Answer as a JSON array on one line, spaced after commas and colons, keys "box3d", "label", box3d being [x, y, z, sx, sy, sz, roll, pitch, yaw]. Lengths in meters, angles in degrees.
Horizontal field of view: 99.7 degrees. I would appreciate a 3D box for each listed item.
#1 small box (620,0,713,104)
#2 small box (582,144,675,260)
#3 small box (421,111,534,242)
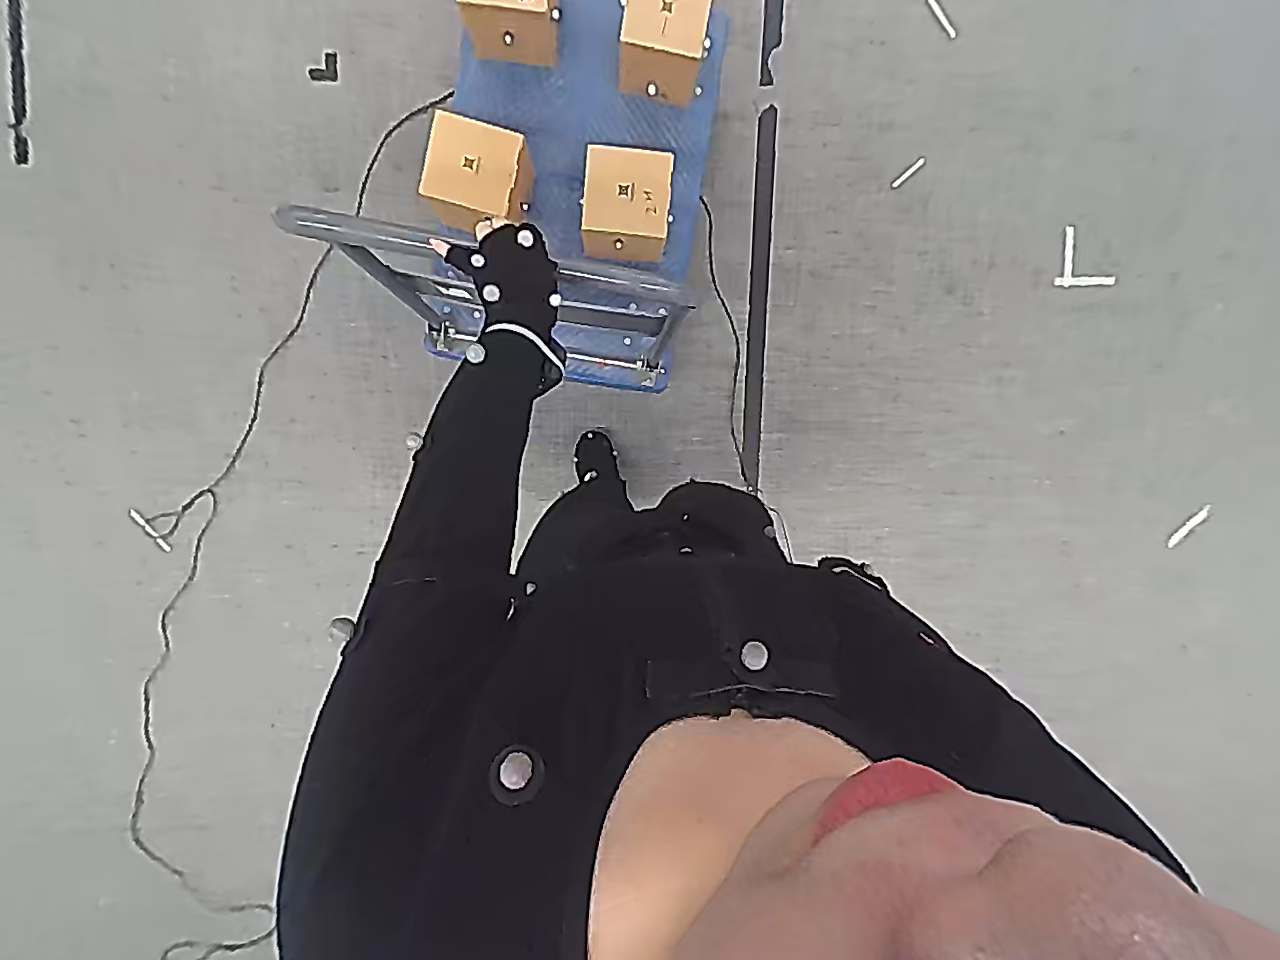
[{"box3d": [0.052, -0.935, 1.126, 0.168, 0.176, 0.179, 10, 96, -4], "label": "small box"}, {"box3d": [-0.027, -0.584, 1.157, 0.179, 0.176, 0.168, 5, 96, -3], "label": "small box"}, {"box3d": [-0.333, -0.626, 1.138, 0.179, 0.176, 0.168, 13, 94, -6], "label": "small box"}]
